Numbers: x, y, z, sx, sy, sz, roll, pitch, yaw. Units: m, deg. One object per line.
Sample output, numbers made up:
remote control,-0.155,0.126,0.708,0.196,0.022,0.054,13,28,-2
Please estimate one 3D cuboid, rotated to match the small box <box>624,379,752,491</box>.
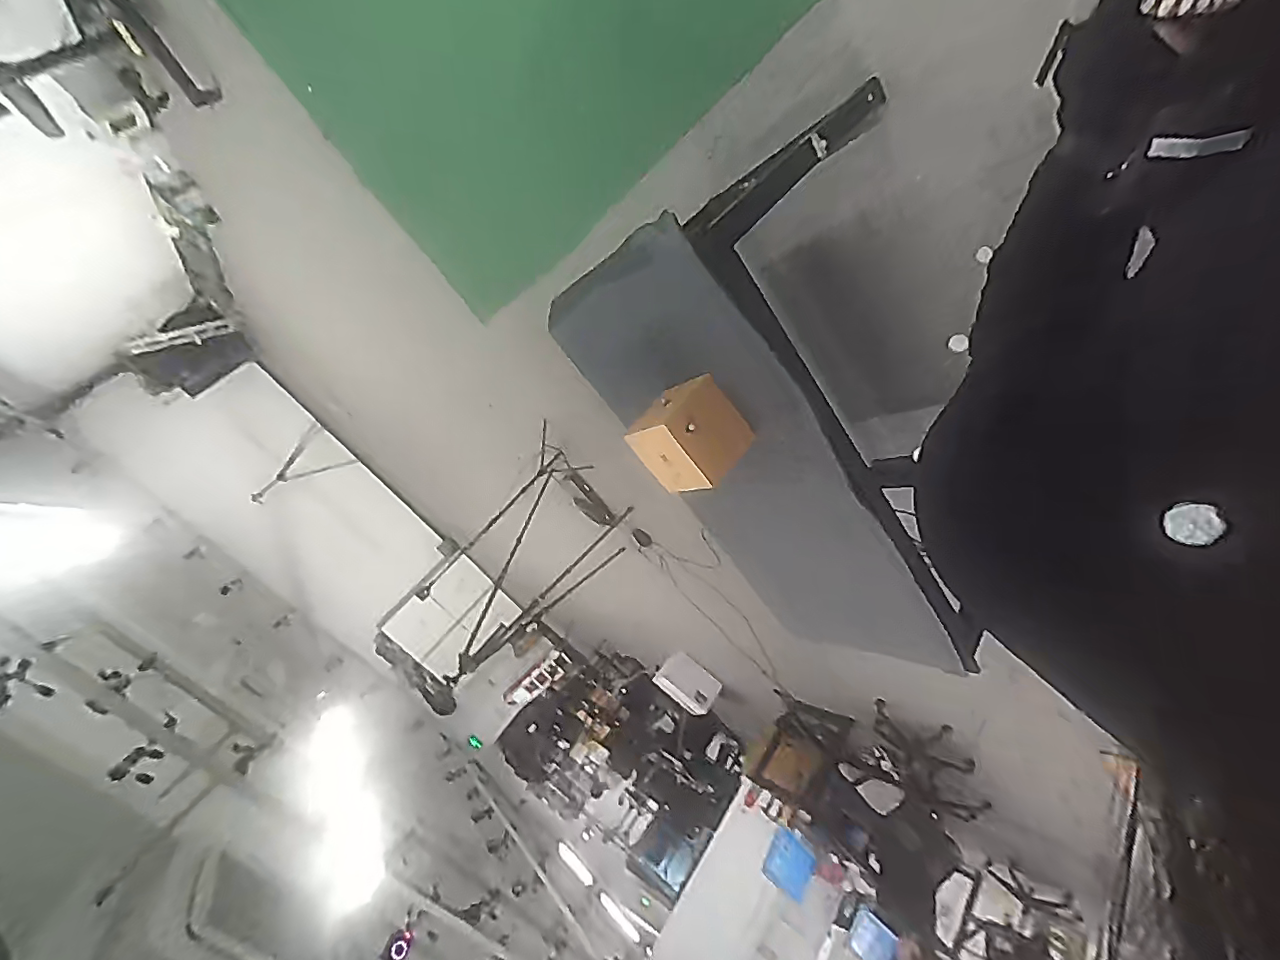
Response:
small box,0.105,-0.099,1.169,0.179,0.176,0.168,49,154,-18
